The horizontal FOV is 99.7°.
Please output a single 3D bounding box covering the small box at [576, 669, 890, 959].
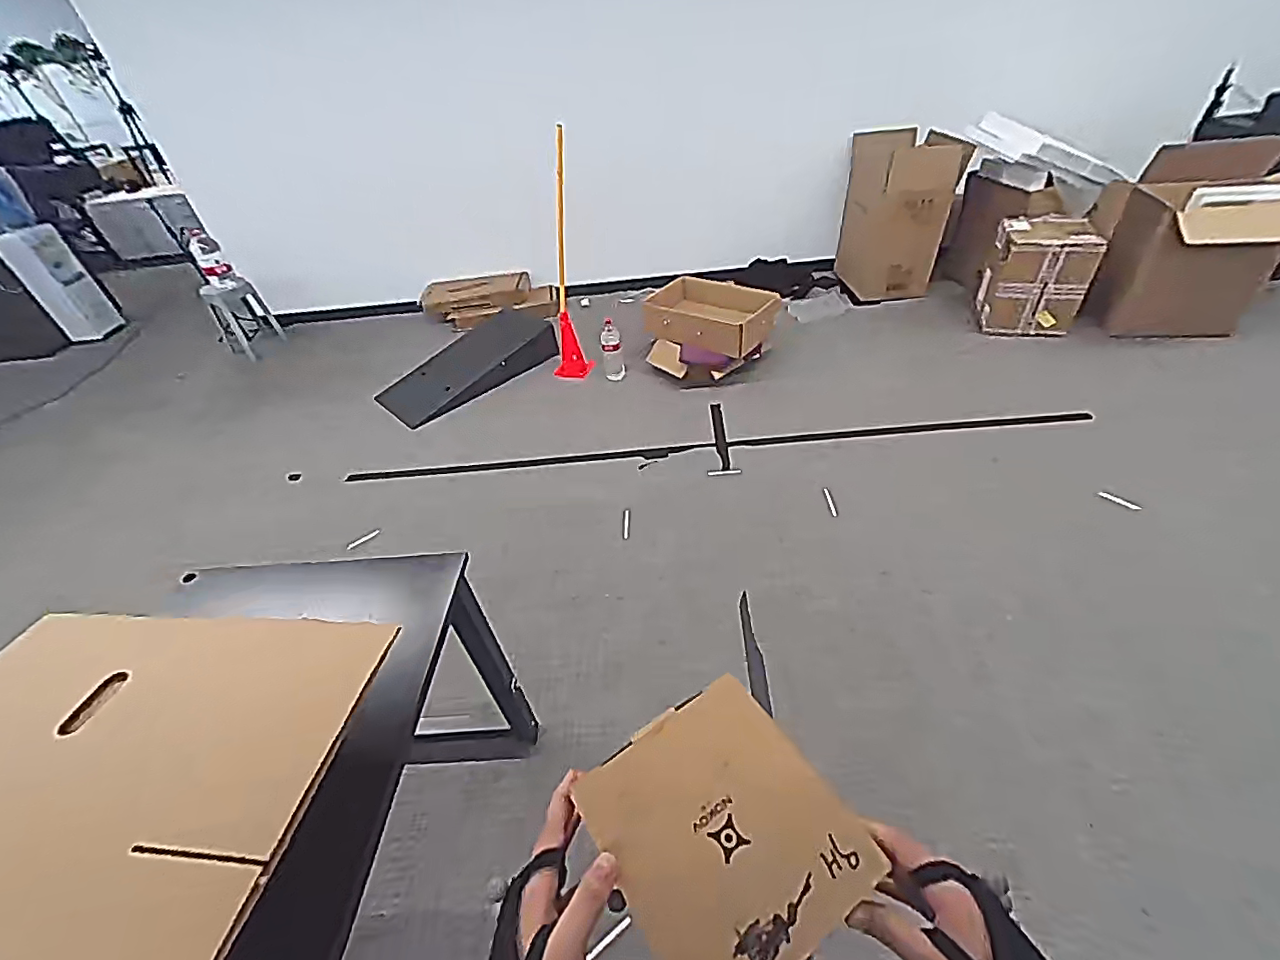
[{"bbox_3d":[0.064,0.304,0.455,0.168,0.176,0.179,-27,50,-21],"label":"small box"}]
